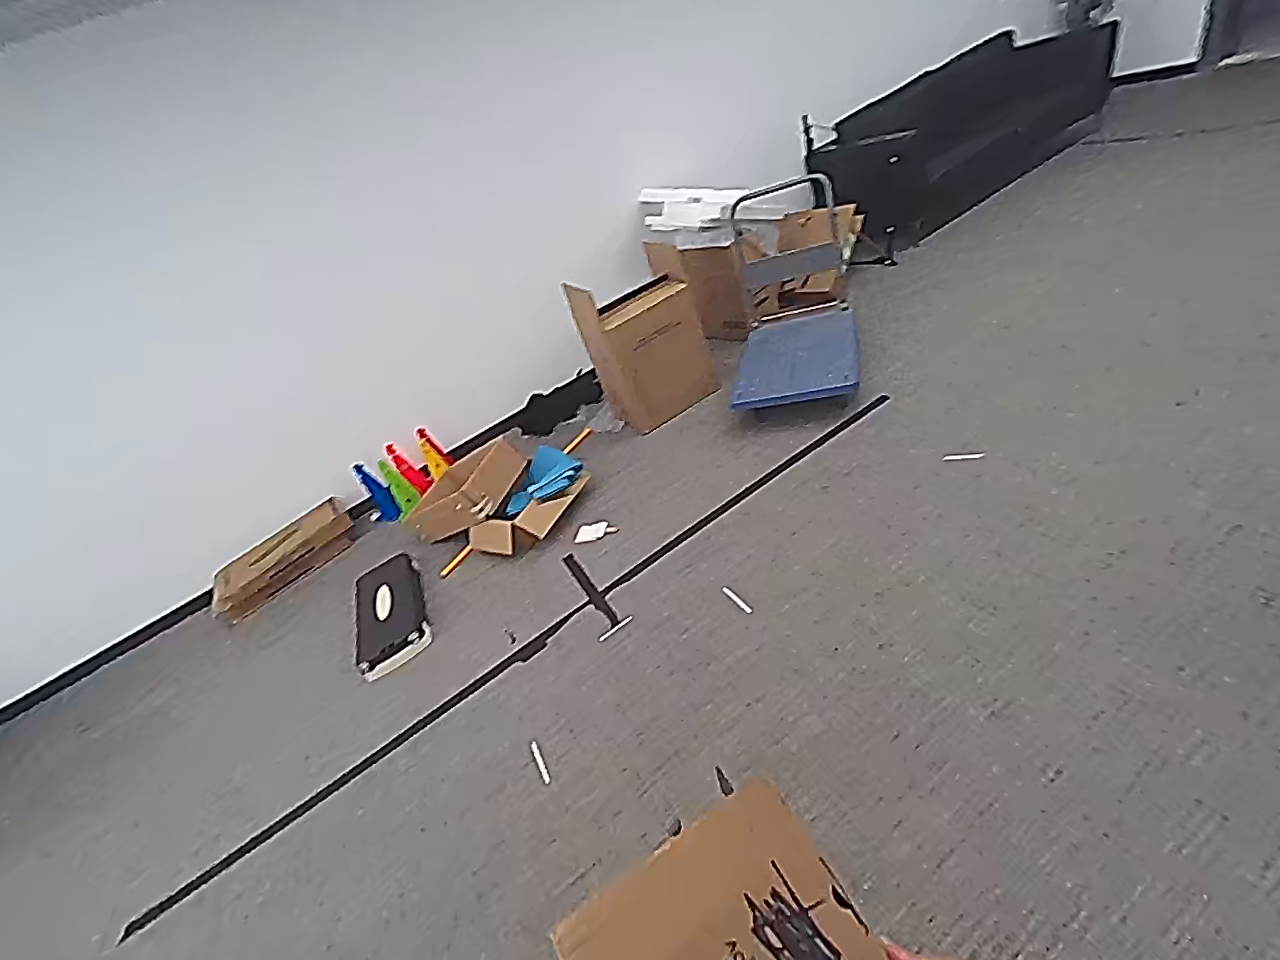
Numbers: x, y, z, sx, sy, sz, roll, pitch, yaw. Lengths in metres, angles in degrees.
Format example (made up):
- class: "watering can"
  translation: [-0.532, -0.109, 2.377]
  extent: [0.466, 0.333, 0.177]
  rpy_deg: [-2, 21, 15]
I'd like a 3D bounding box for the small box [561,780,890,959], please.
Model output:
- class: "small box"
  translation: [0.068, 0.354, 0.397]
  extent: [0.179, 0.176, 0.168]
  rpy_deg: [-30, 57, -12]
